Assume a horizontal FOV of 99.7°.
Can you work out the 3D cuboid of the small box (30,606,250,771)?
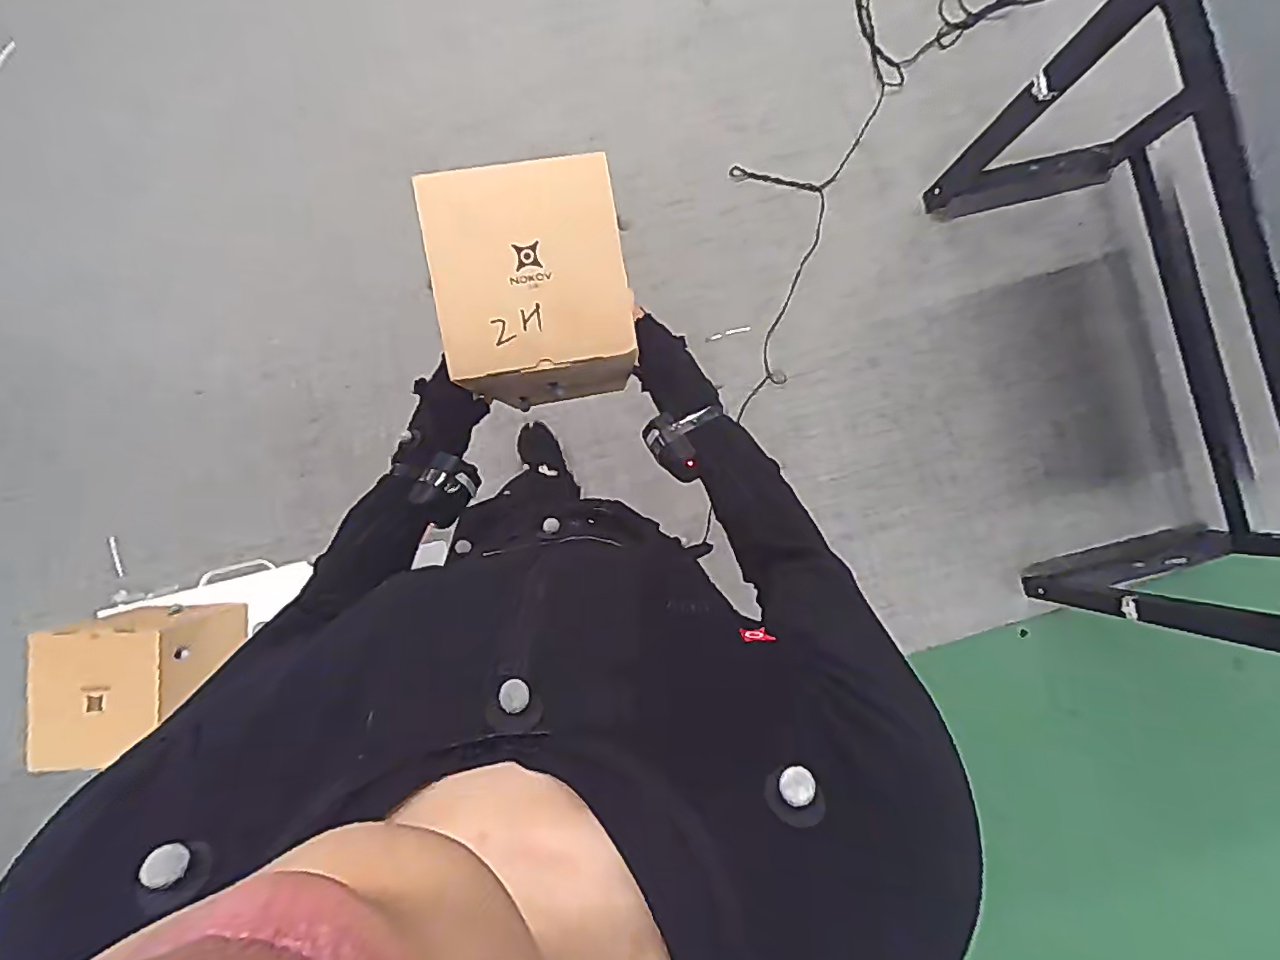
[{"bbox_3d":[-0.695,0.285,0.772,0.168,0.176,0.179,-2,88,-2],"label":"small box"}]

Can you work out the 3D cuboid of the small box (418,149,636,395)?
[{"bbox_3d":[-0.101,-0.191,0.541,0.168,0.176,0.179,-9,93,-3],"label":"small box"}]
